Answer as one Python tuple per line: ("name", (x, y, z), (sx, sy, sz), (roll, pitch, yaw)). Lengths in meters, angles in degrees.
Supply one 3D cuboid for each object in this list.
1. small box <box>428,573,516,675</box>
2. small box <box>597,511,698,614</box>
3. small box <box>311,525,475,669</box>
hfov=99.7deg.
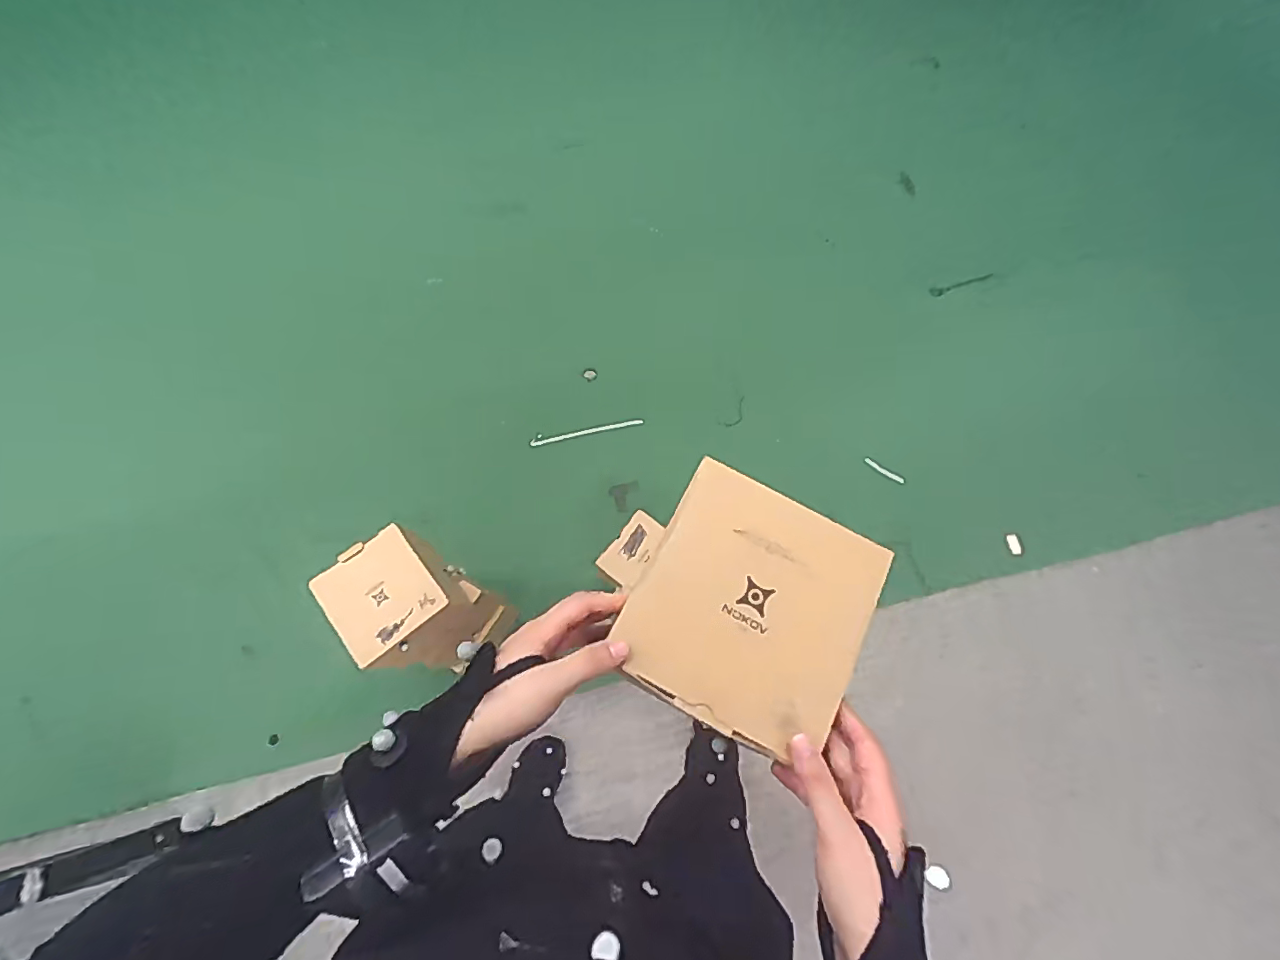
("small box", (-0.413, 0.329, 1.251), (0.179, 0.176, 0.168), (31, 73, 10))
("small box", (0.015, 0.205, 1.298), (0.179, 0.176, 0.168), (37, 75, 10))
("small box", (-0.420, 0.210, 0.946), (0.168, 0.176, 0.179), (-38, 76, -12))
